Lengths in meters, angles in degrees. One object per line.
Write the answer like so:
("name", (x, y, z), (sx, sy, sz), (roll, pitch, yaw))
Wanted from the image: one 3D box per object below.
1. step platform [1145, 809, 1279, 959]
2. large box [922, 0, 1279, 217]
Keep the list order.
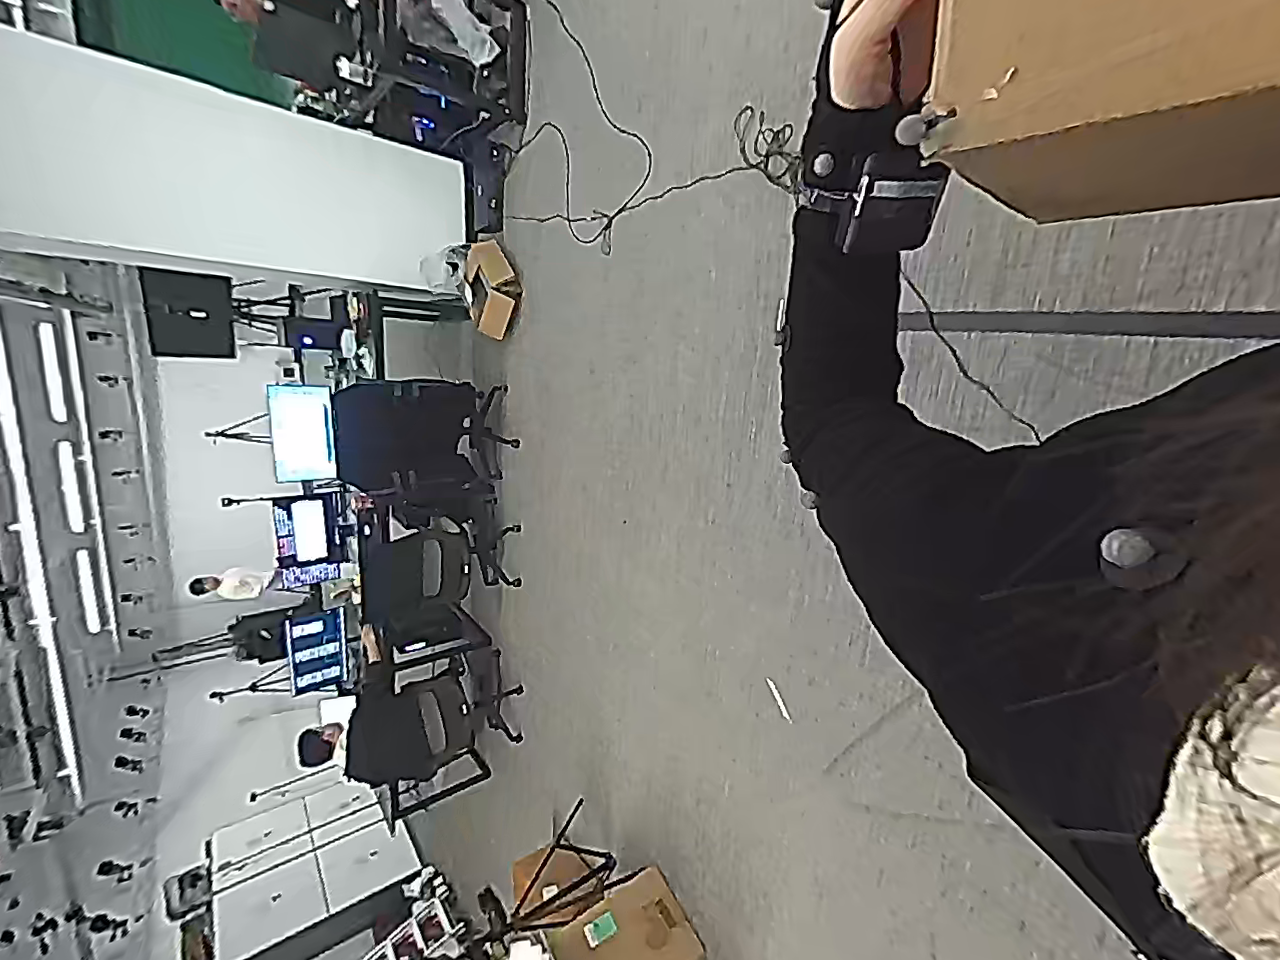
("step platform", (1.245, 0.887, 0.826), (0.684, 0.204, 0.286), (27, 115, 46))
("large box", (0.372, -0.300, 0.183), (0.408, 0.320, 0.320), (13, 111, 42))
